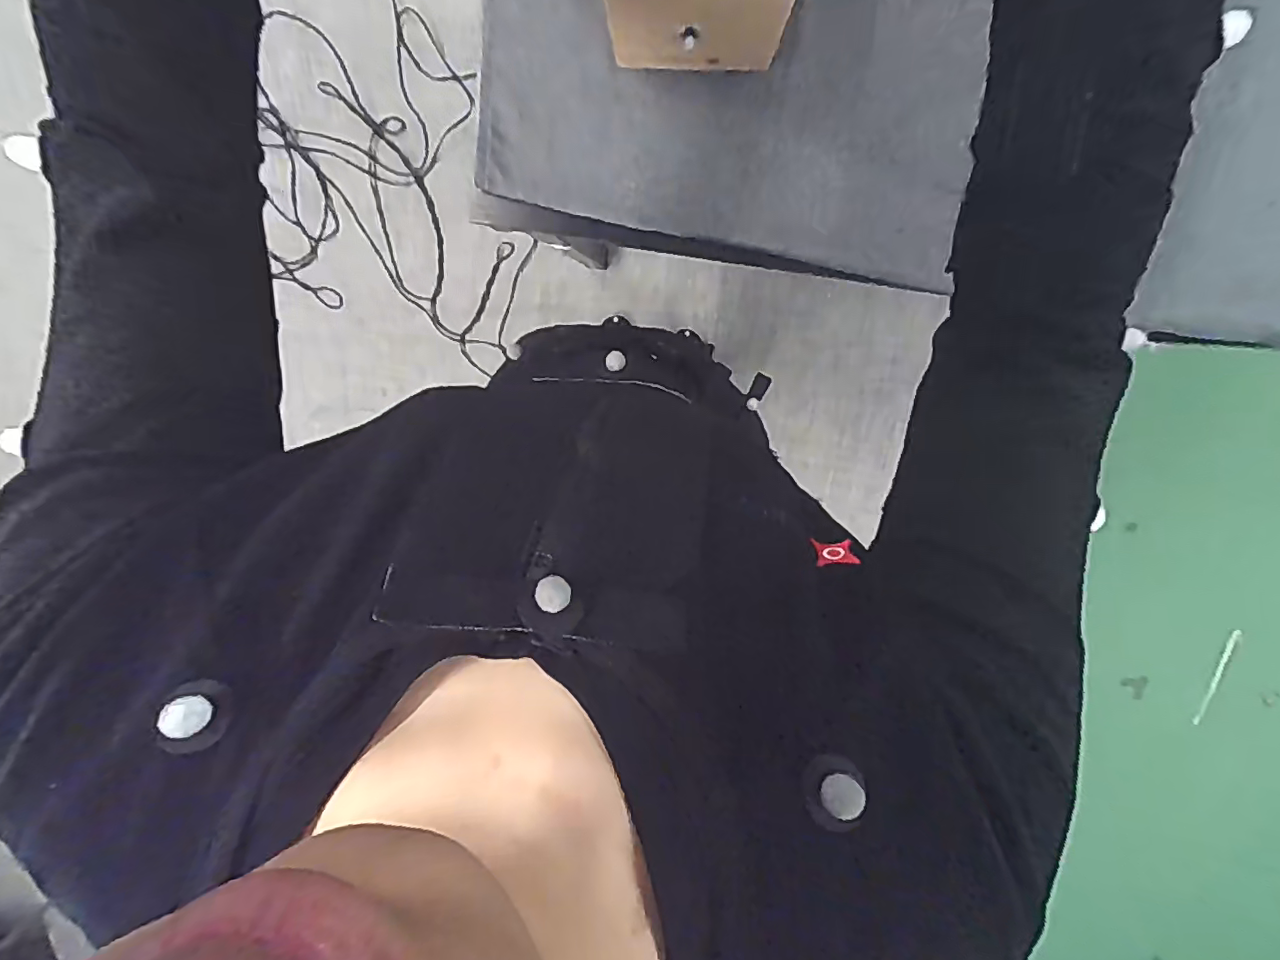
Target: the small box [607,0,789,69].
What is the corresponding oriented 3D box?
[{"bbox_3d":[0.059,-0.511,0.494,0.168,0.176,0.179,3,106,2],"label":"small box"}]
